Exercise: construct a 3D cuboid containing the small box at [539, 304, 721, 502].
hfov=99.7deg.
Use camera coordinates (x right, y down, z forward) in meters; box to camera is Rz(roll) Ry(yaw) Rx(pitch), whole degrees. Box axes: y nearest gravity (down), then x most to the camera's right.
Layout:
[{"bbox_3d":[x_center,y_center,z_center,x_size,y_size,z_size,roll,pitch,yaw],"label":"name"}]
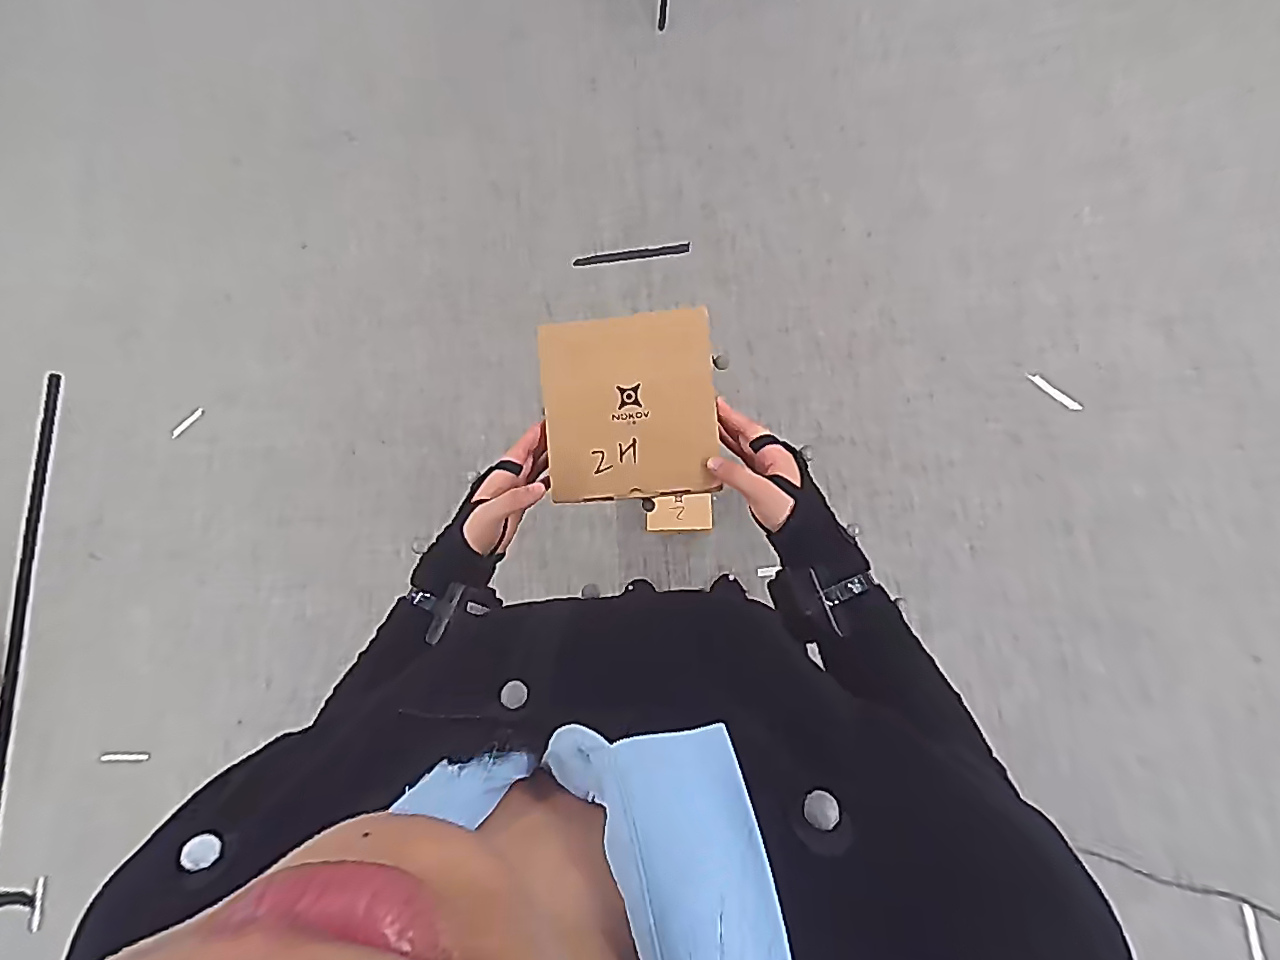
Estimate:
[{"bbox_3d":[-0.003,-0.069,0.586,0.168,0.176,0.179,-5,87,7],"label":"small box"}]
